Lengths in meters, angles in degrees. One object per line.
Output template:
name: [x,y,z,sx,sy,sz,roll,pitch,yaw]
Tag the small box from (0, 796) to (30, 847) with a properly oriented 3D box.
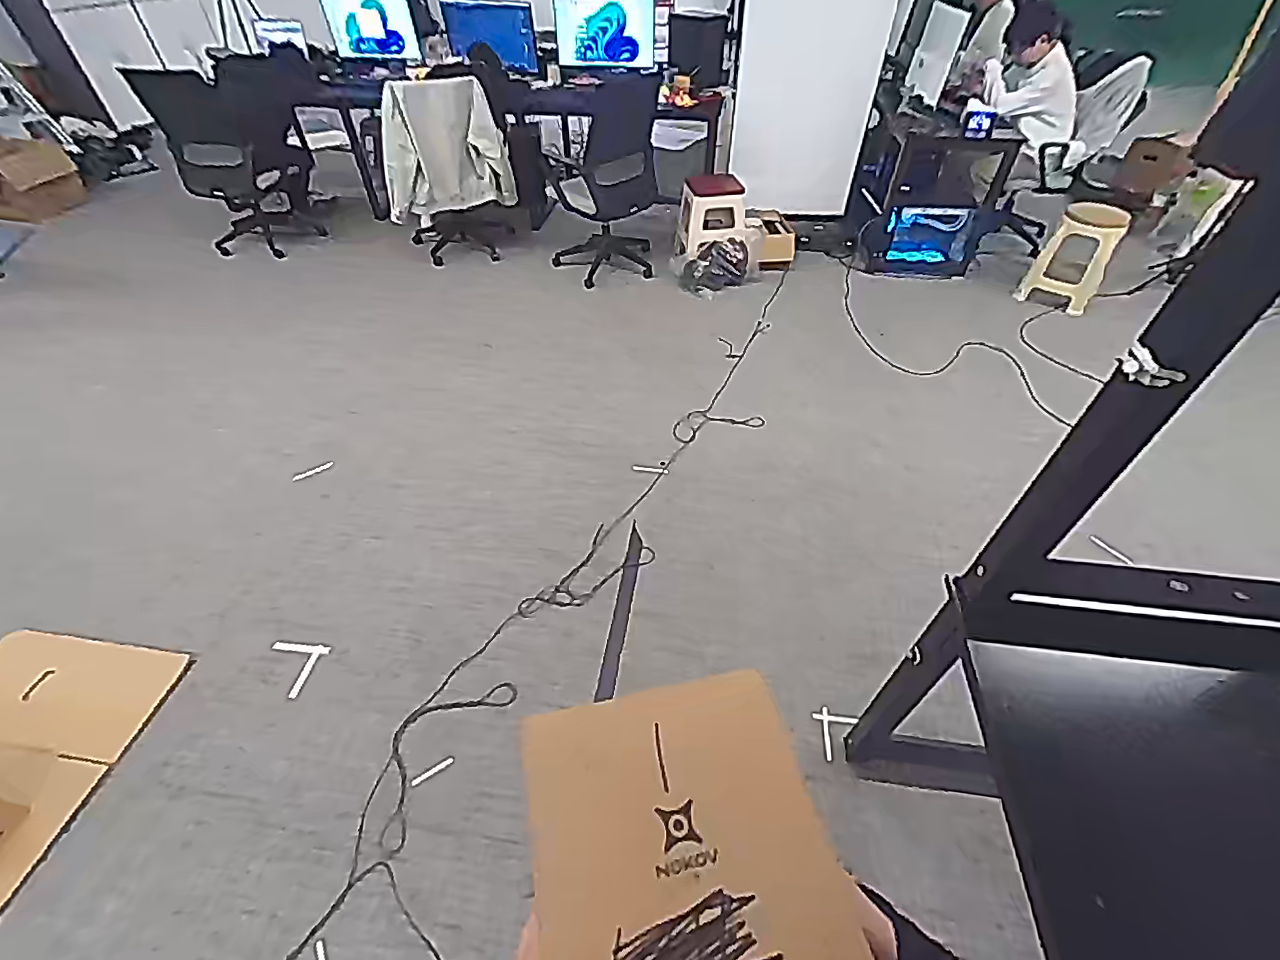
small box: [-1.551,0.784,1.197,0.179,0.176,0.168,4,46,5]
